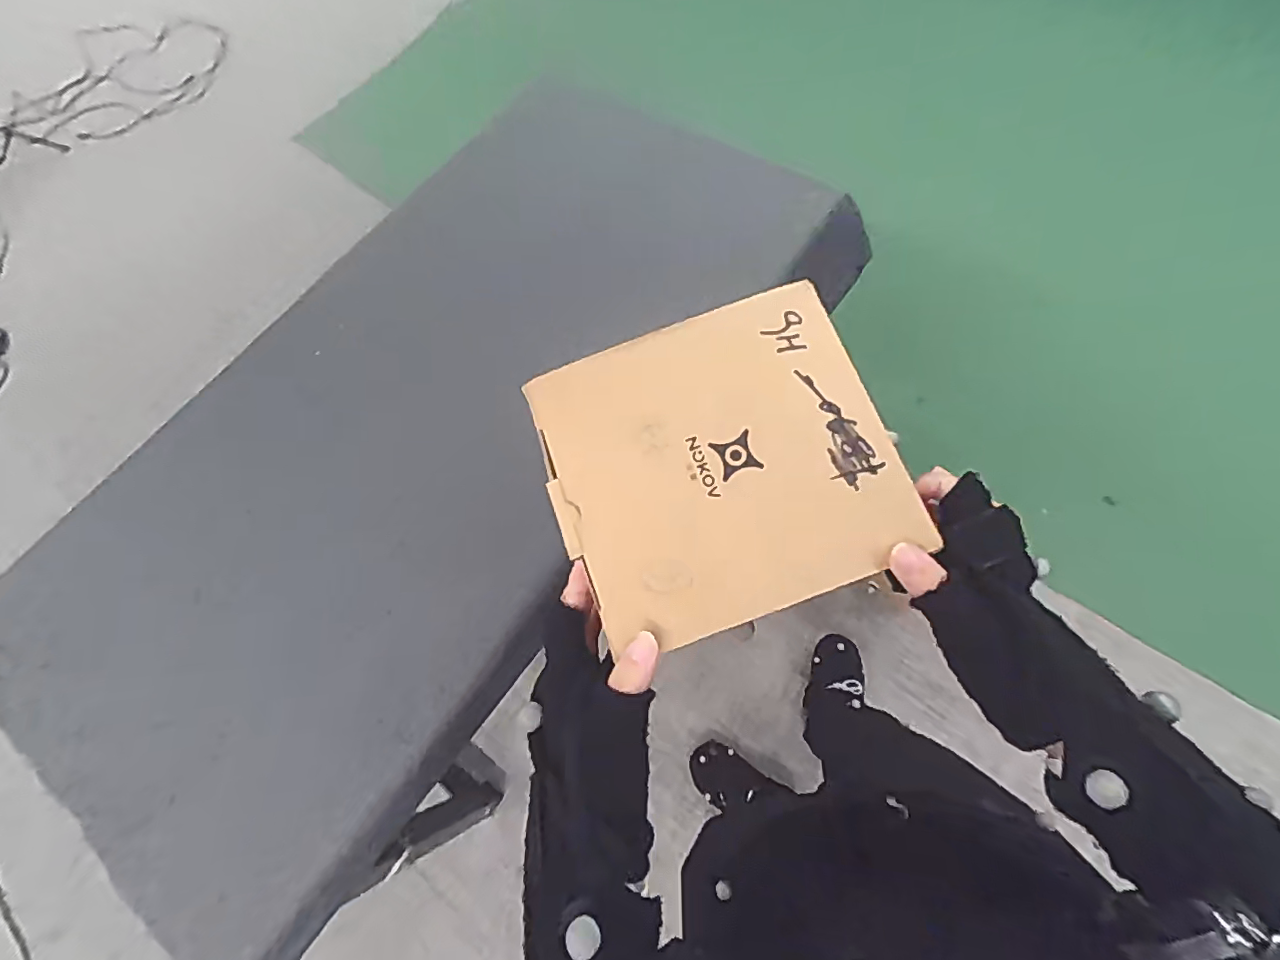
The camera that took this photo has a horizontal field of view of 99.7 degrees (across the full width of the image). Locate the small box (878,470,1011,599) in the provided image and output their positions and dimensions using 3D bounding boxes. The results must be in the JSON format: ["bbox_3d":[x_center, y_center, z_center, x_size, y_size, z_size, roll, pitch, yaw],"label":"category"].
[{"bbox_3d":[0.591,0.116,1.095,0.168,0.176,0.179,38,77,19],"label":"small box"}]

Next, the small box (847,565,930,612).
[{"bbox_3d":[0.602,0.180,1.247,0.168,0.176,0.179,36,77,18],"label":"small box"}]

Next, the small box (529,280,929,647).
[{"bbox_3d":[0.048,0.005,0.368,0.179,0.176,0.168,-19,76,0],"label":"small box"}]
